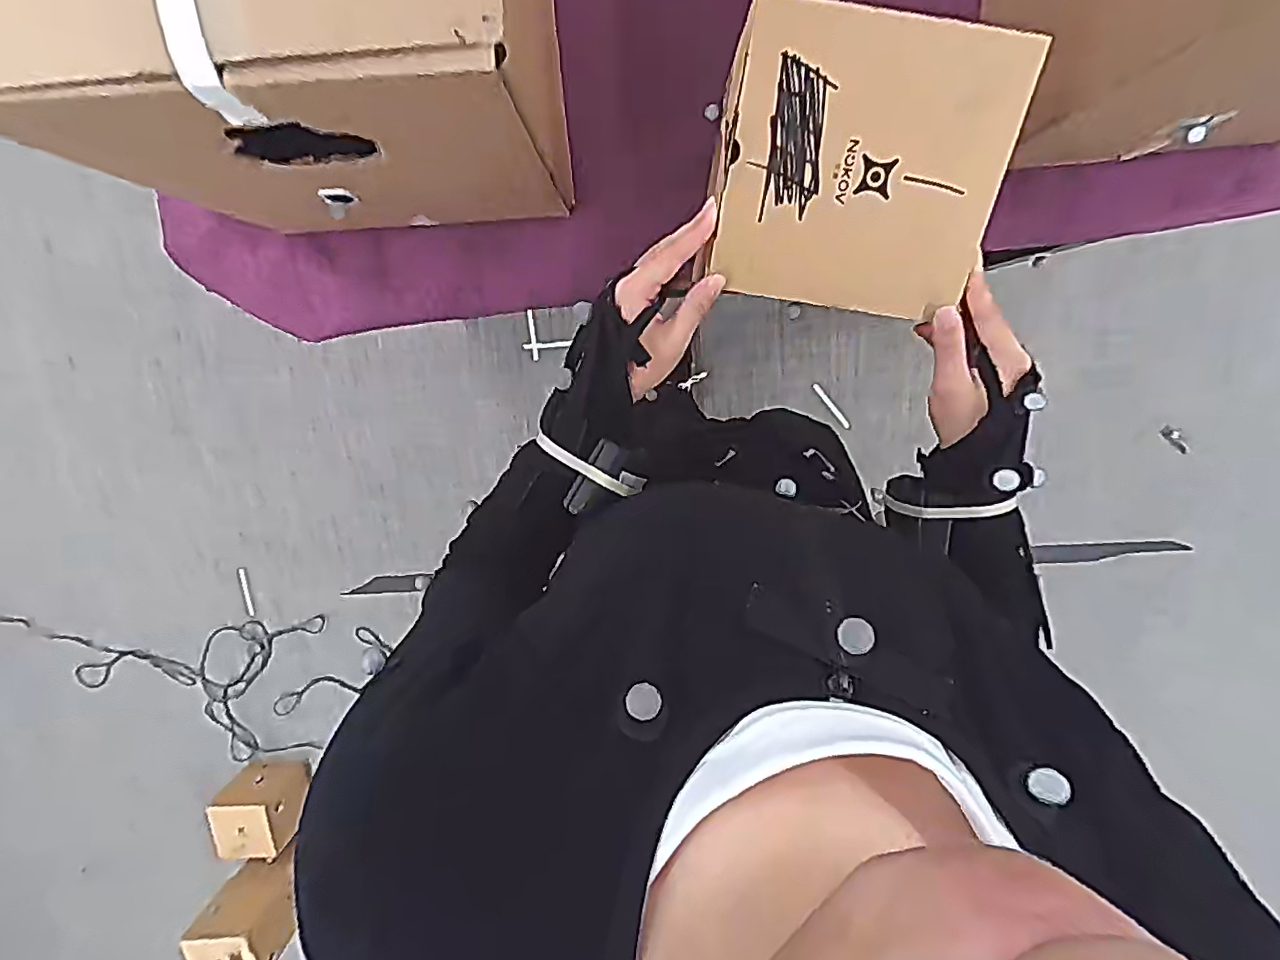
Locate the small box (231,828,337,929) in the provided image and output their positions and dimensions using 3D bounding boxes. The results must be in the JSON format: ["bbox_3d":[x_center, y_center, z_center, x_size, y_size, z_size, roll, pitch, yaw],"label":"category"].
[{"bbox_3d":[-1.039,1.167,1.591,0.179,0.176,0.168,-11,103,4],"label":"small box"}]

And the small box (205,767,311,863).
[{"bbox_3d":[-1.074,0.943,1.535,0.168,0.176,0.179,-2,104,3],"label":"small box"}]

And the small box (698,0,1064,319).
[{"bbox_3d":[0.144,-0.223,0.404,0.179,0.176,0.168,9,111,-2],"label":"small box"}]
